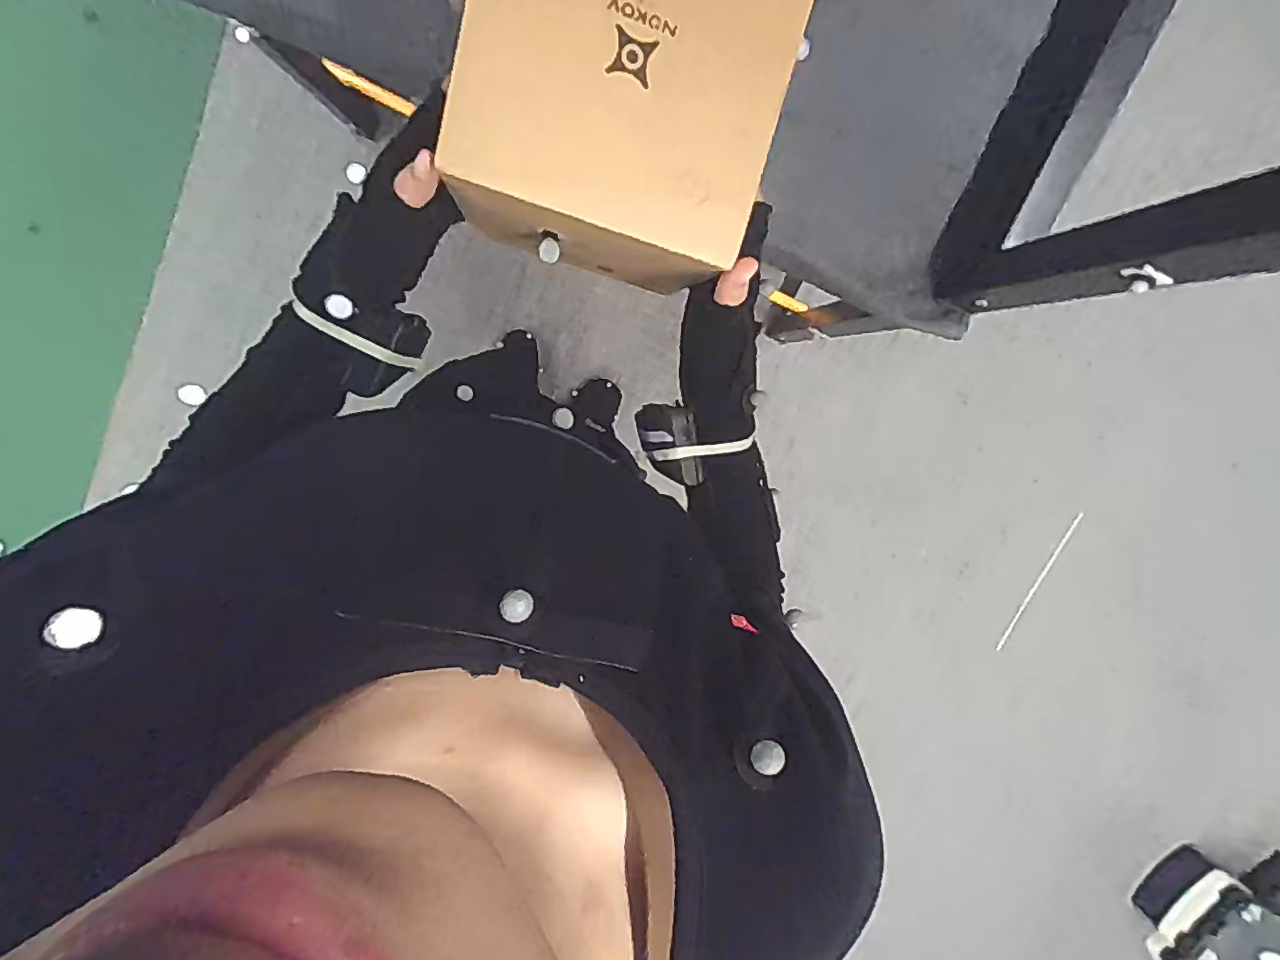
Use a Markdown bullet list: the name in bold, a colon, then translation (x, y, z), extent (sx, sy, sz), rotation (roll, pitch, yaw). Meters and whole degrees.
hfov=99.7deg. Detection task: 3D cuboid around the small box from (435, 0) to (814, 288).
- **small box**: translation (-0.013, -0.236, 0.343), extent (0.168, 0.176, 0.179), rotation (14, 100, -12)
